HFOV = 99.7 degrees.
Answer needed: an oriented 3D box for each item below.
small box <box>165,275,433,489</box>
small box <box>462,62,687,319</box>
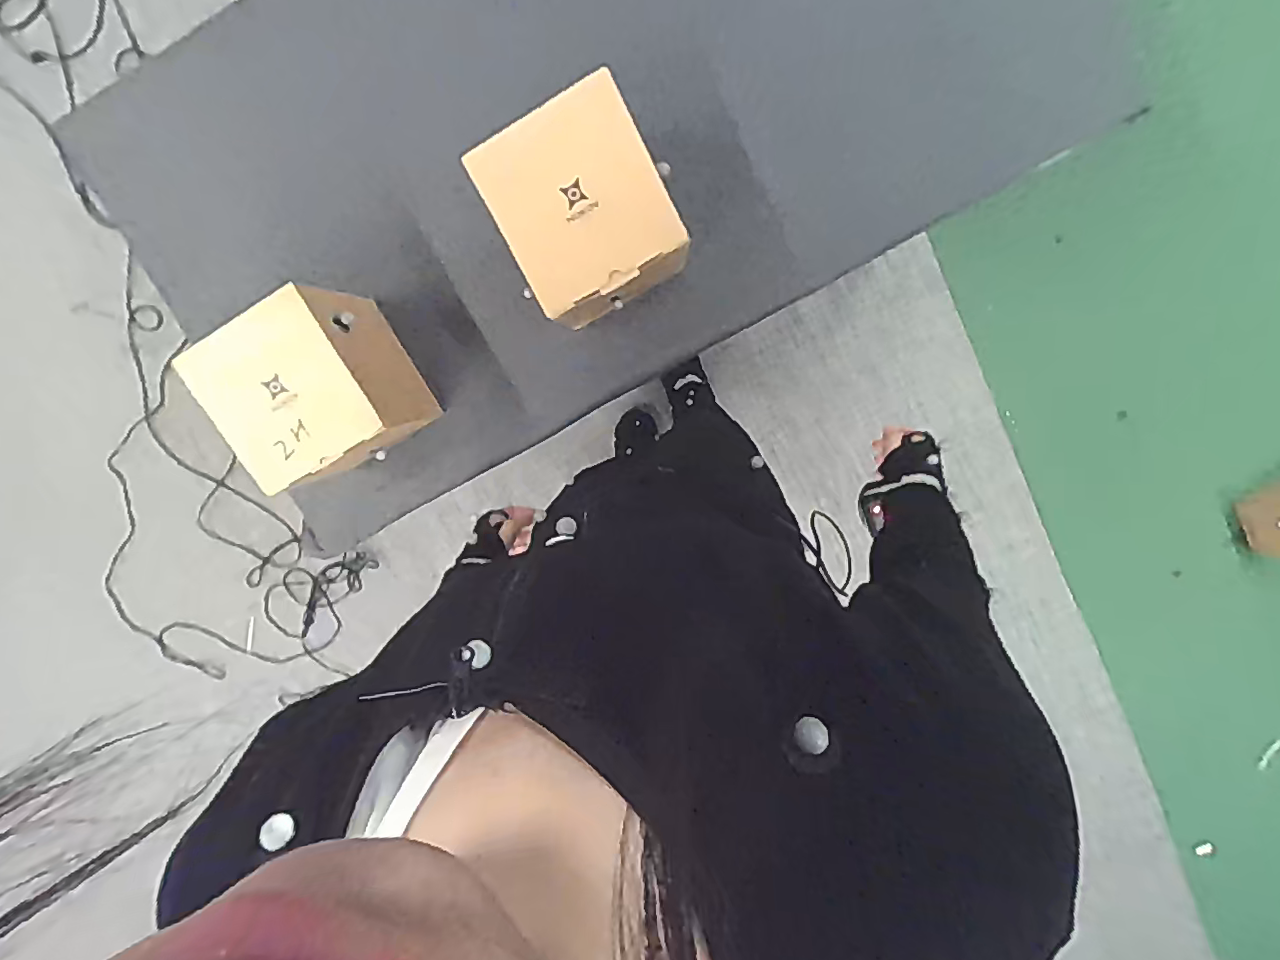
[{"bbox_3d":[-0.387,-0.115,0.650,0.168,0.176,0.179,-28,101,7],"label":"small box"},{"bbox_3d":[-0.063,-0.299,0.606,0.168,0.176,0.179,-28,101,7],"label":"small box"}]
